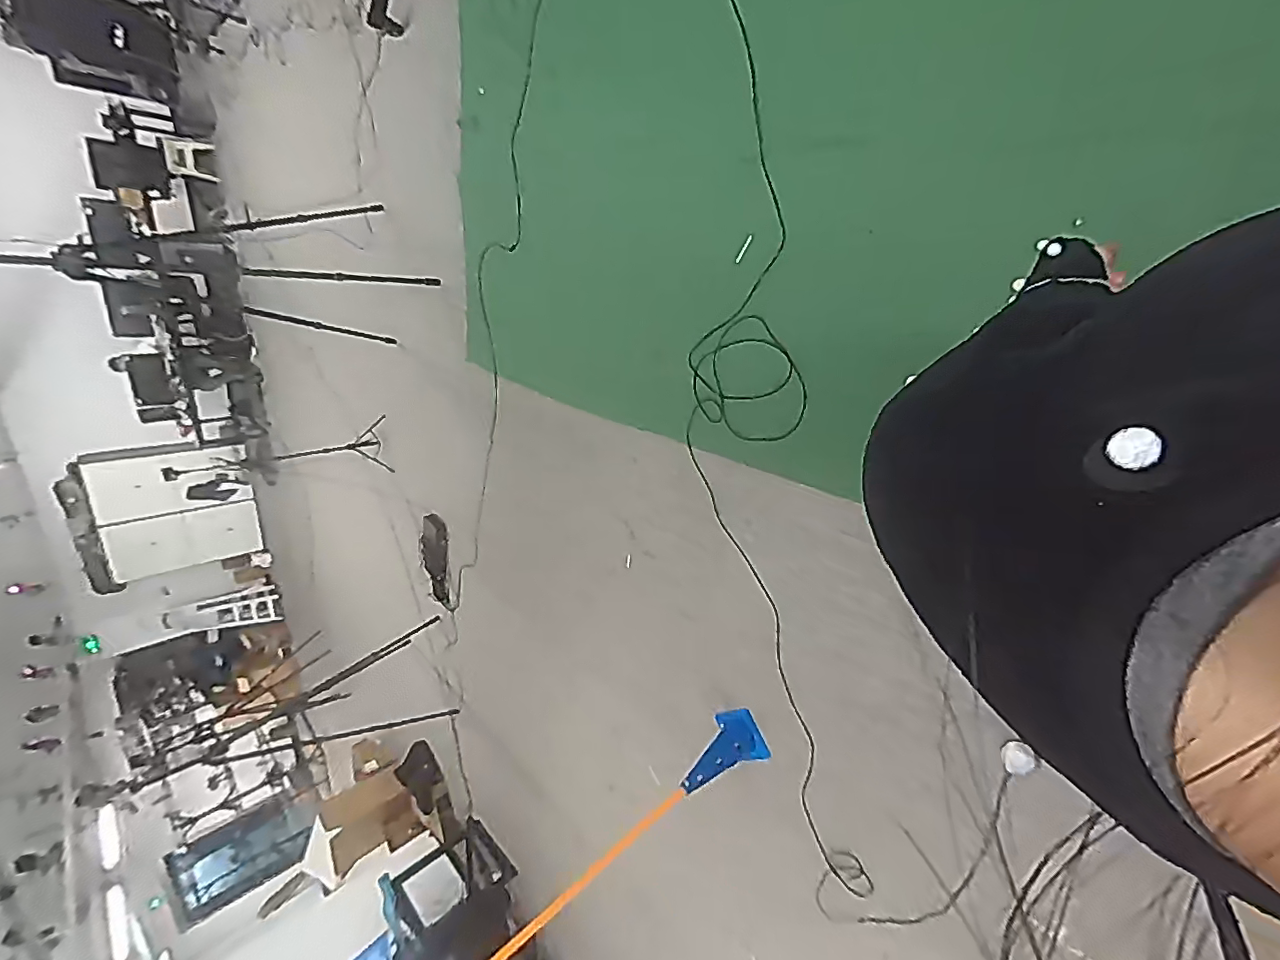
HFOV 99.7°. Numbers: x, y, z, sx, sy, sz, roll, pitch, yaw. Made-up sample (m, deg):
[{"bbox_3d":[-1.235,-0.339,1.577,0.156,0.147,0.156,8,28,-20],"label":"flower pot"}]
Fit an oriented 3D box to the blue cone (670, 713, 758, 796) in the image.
[{"bbox_3d":[0.251,1.049,2.004,0.193,0.380,0.192,-40,75,46],"label":"blue cone"}]
